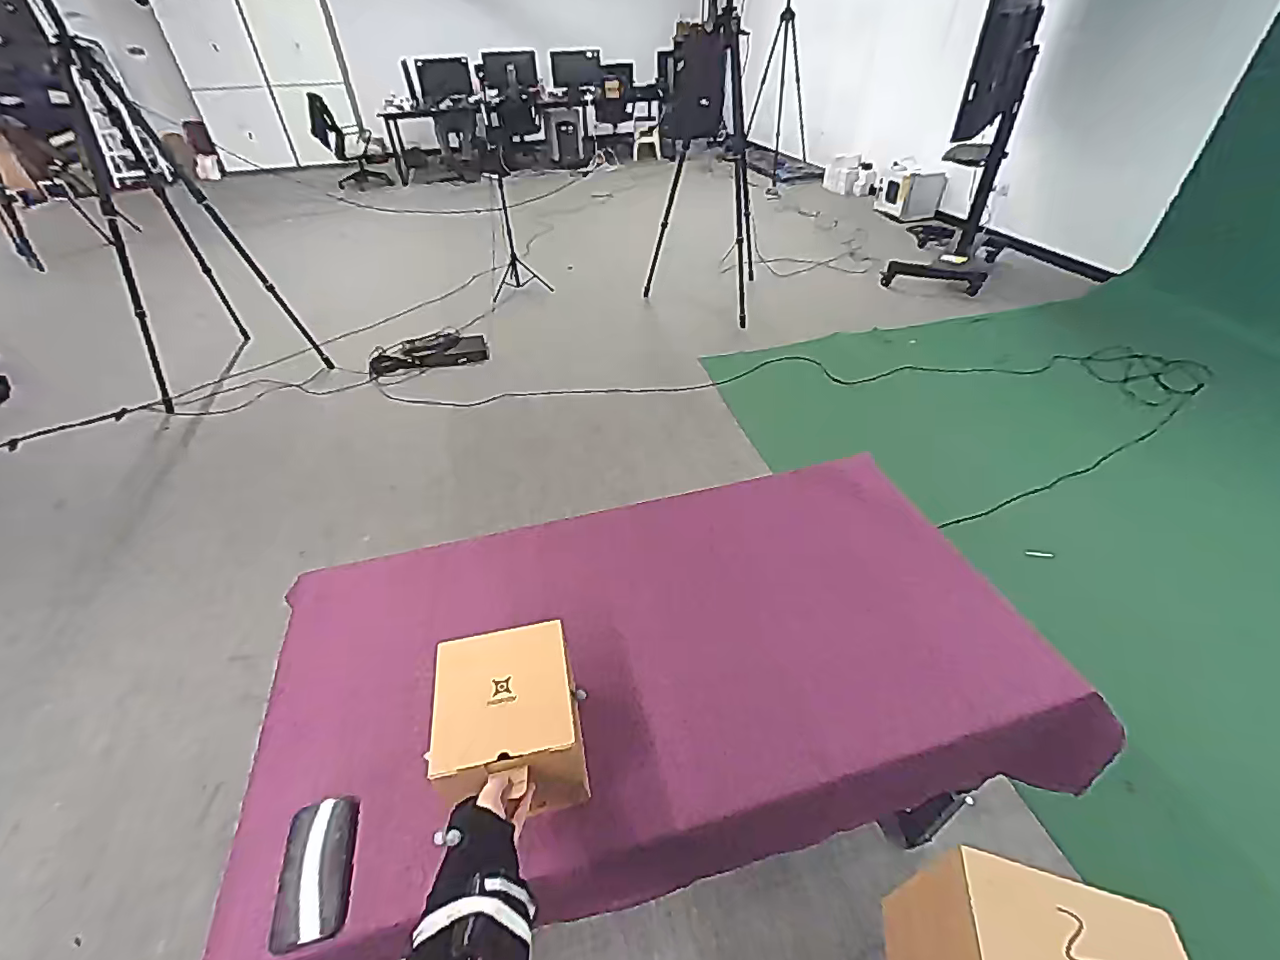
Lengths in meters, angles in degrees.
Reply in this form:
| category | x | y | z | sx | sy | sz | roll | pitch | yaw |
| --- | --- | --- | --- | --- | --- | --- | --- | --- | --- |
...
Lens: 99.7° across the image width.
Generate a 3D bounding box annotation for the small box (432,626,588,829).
| category | x | y | z | sx | sy | sz | roll | pitch | yaw |
| --- | --- | --- | --- | --- | --- | --- | --- | --- | --- |
| small box | -0.166 | 0.328 | 0.724 | 0.168 | 0.176 | 0.179 | -9 | 41 | -8 |
